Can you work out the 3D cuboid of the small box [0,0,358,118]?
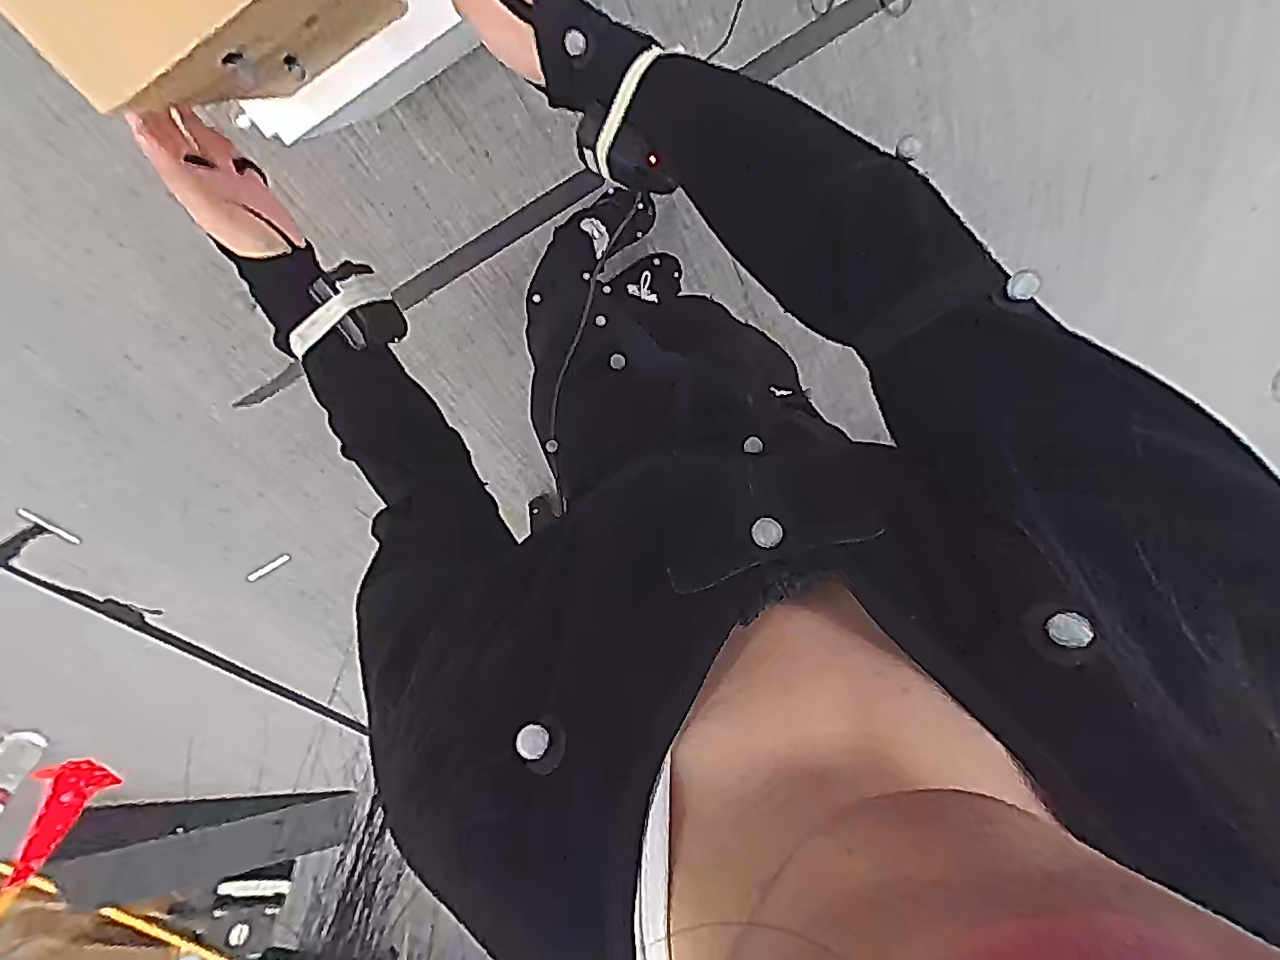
[{"bbox_3d":[-0.285,-0.345,0.305,0.168,0.176,0.179,-30,127,8],"label":"small box"}]

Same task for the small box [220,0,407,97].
[{"bbox_3d":[-0.319,-0.441,0.433,0.168,0.176,0.179,-29,126,7],"label":"small box"}]
